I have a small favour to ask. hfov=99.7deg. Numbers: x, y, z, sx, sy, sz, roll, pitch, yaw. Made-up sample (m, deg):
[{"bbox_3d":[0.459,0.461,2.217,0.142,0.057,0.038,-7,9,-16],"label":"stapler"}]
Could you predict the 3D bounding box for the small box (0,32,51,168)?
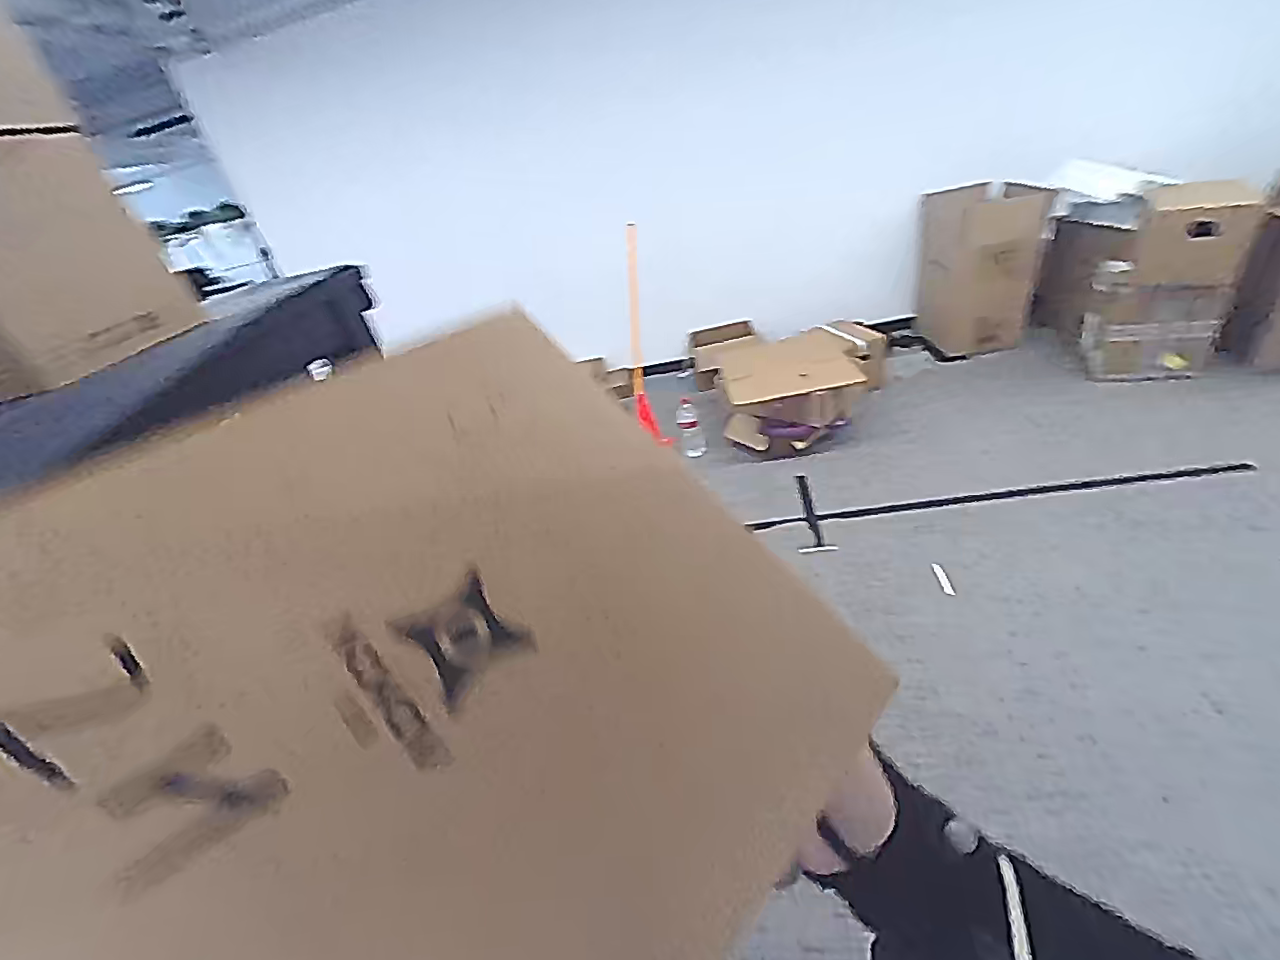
[{"bbox_3d":[-0.573,-0.291,0.359,0.168,0.176,0.179,-10,34,13],"label":"small box"}]
